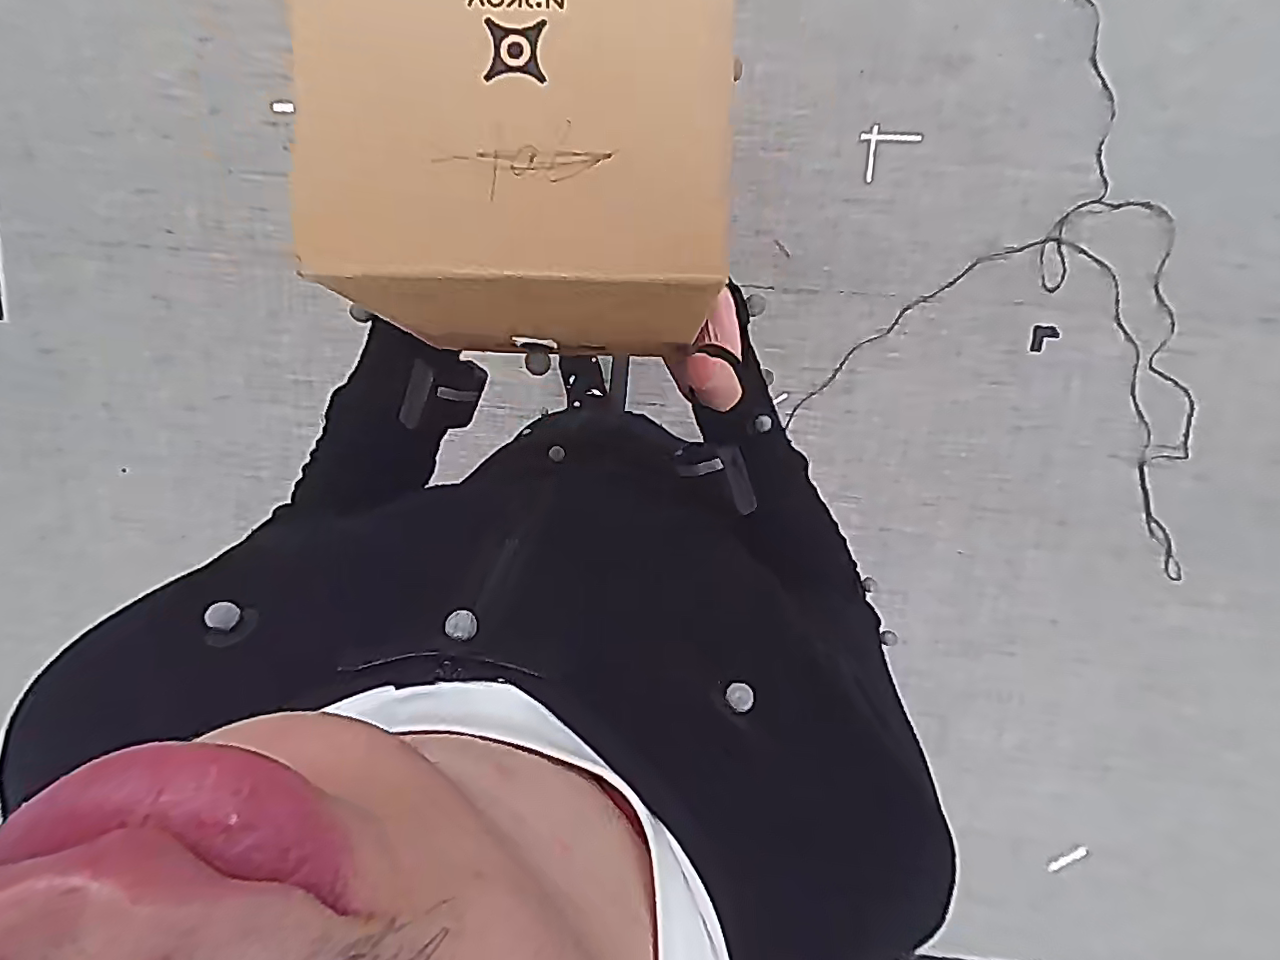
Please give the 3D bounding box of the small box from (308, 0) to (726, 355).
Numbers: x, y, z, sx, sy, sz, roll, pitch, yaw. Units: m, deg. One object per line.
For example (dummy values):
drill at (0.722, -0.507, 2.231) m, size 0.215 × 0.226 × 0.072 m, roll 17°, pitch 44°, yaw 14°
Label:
small box at (-0.049, -0.173, 0.294) m, size 0.168 × 0.176 × 0.179 m, roll 1°, pitch 94°, yaw -1°
